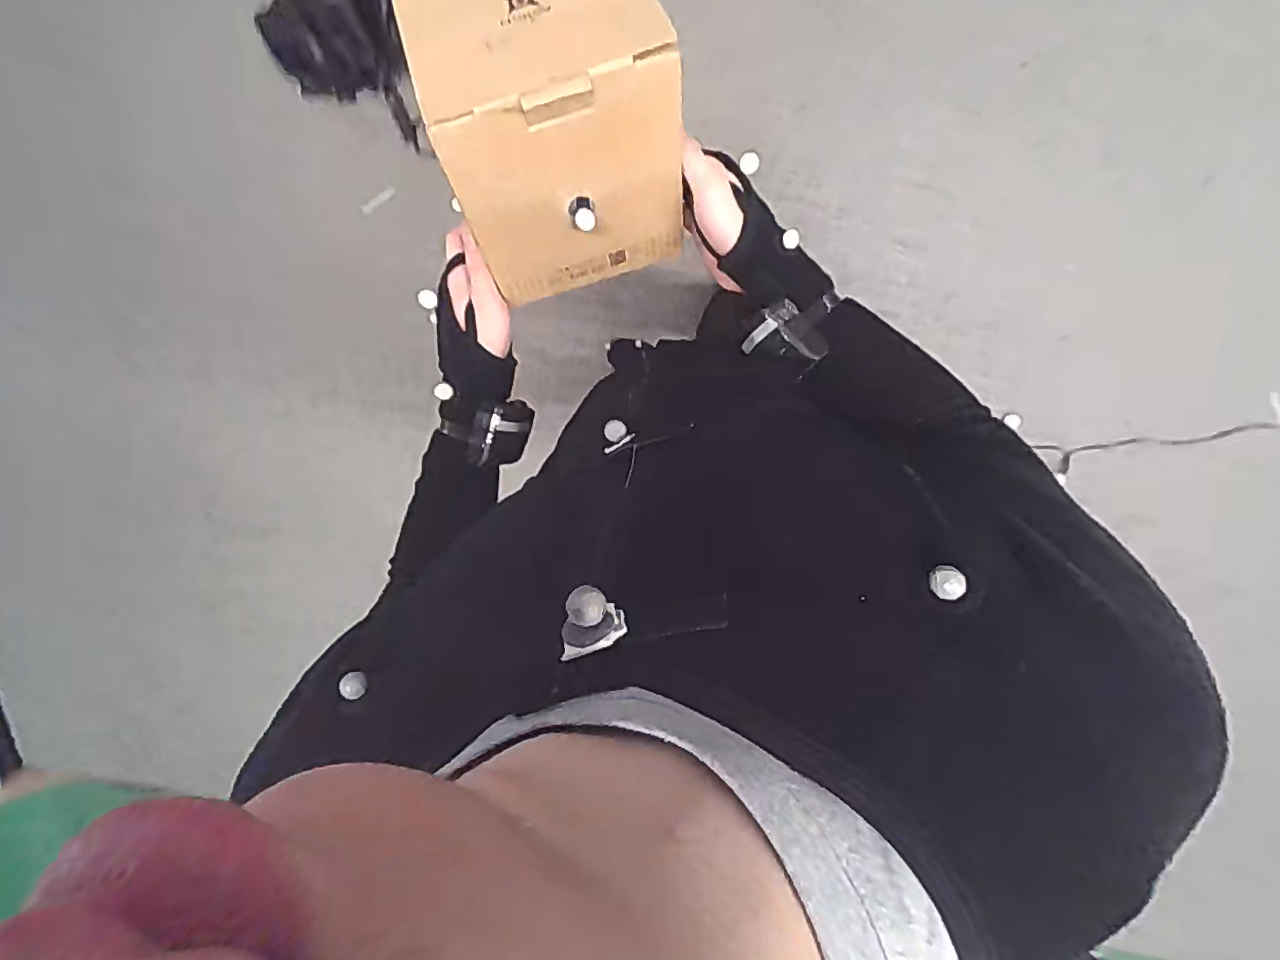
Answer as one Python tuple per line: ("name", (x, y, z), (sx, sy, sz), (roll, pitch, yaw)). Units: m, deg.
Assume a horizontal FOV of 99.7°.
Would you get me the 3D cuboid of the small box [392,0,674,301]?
("small box", (-0.072, -0.269, 0.434), (0.168, 0.176, 0.179), (-17, 68, -3))
